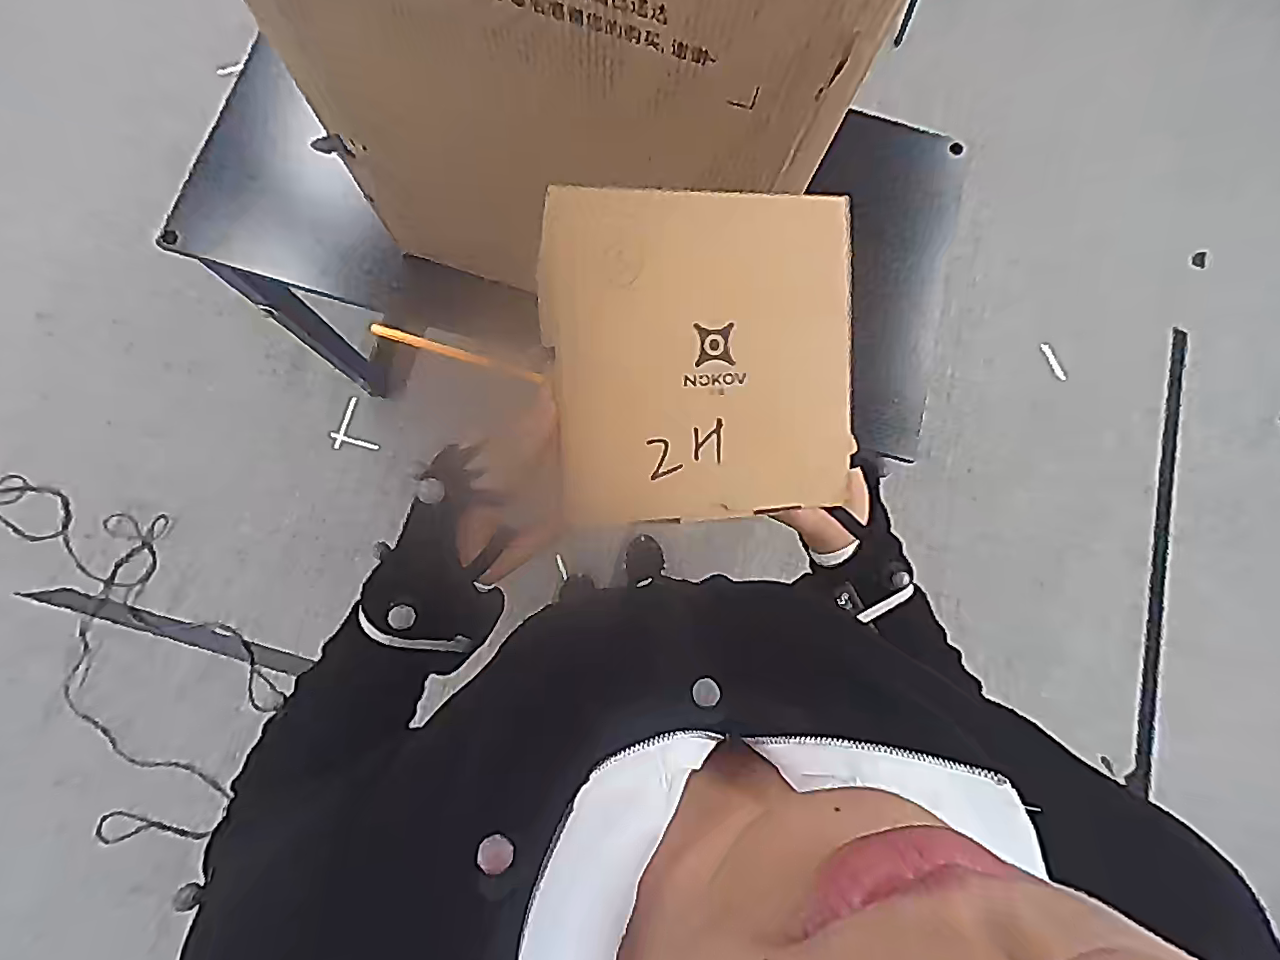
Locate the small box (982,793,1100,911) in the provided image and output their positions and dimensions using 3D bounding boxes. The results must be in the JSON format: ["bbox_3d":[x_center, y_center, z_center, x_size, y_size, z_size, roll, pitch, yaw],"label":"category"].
[{"bbox_3d":[1.027,0.949,1.397,0.168,0.176,0.179,20,80,-1],"label":"small box"}]

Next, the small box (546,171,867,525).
[{"bbox_3d":[0.027,-0.077,0.362,0.168,0.176,0.179,-4,100,-11],"label":"small box"}]
